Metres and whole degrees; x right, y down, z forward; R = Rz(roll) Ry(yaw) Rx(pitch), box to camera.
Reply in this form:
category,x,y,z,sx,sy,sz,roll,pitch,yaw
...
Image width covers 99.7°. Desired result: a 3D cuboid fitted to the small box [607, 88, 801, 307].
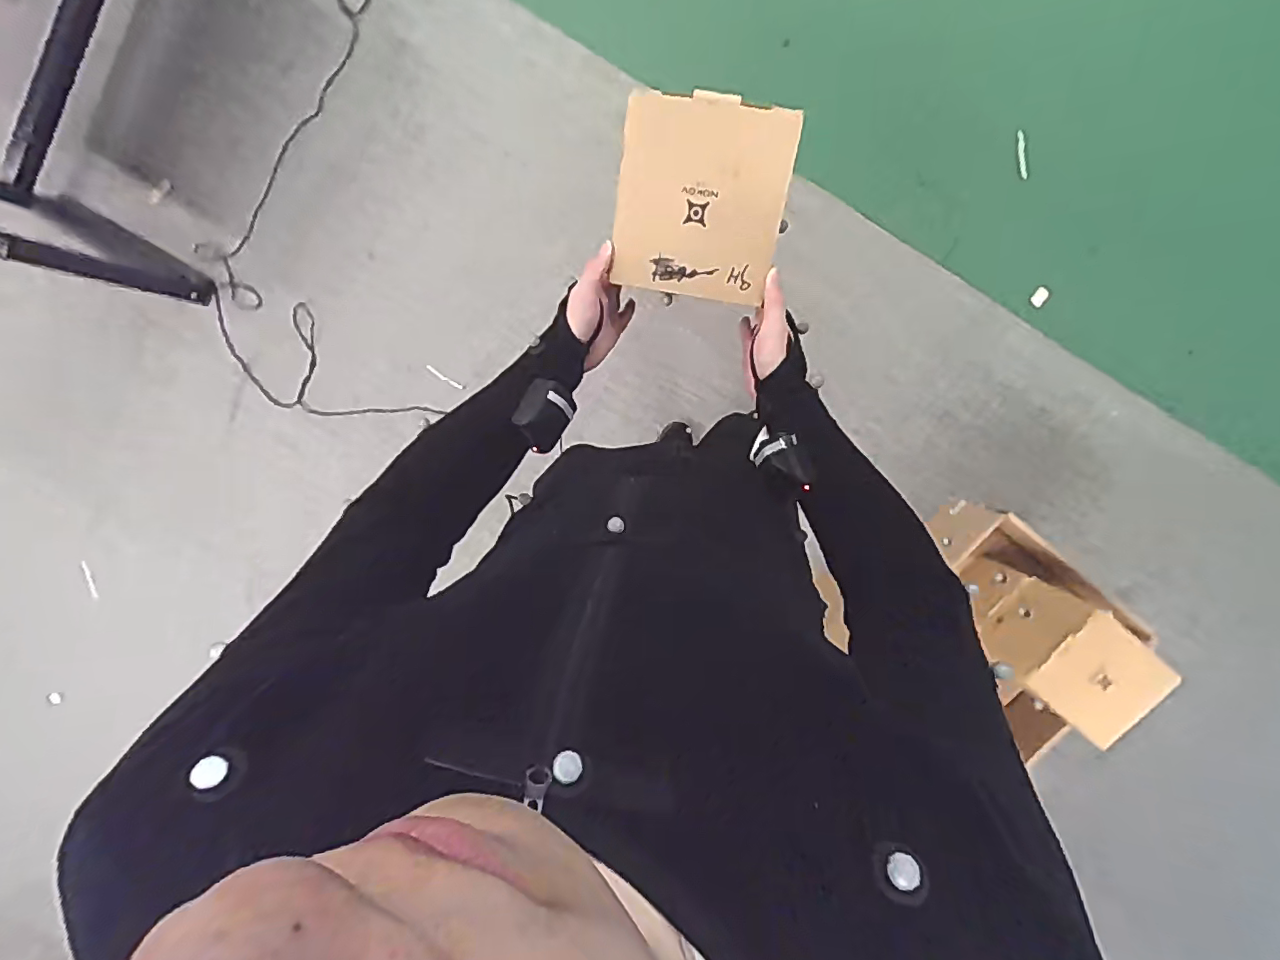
category,x,y,z,sx,sy,sz,roll,pitch,yaw
small box,0.068,-0.302,0.606,0.168,0.176,0.179,11,113,5

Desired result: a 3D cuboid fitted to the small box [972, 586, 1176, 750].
category,x,y,z,sx,sy,sz,roll,pitch,yaw
small box,0.734,0.312,0.937,0.179,0.176,0.168,41,98,-1
